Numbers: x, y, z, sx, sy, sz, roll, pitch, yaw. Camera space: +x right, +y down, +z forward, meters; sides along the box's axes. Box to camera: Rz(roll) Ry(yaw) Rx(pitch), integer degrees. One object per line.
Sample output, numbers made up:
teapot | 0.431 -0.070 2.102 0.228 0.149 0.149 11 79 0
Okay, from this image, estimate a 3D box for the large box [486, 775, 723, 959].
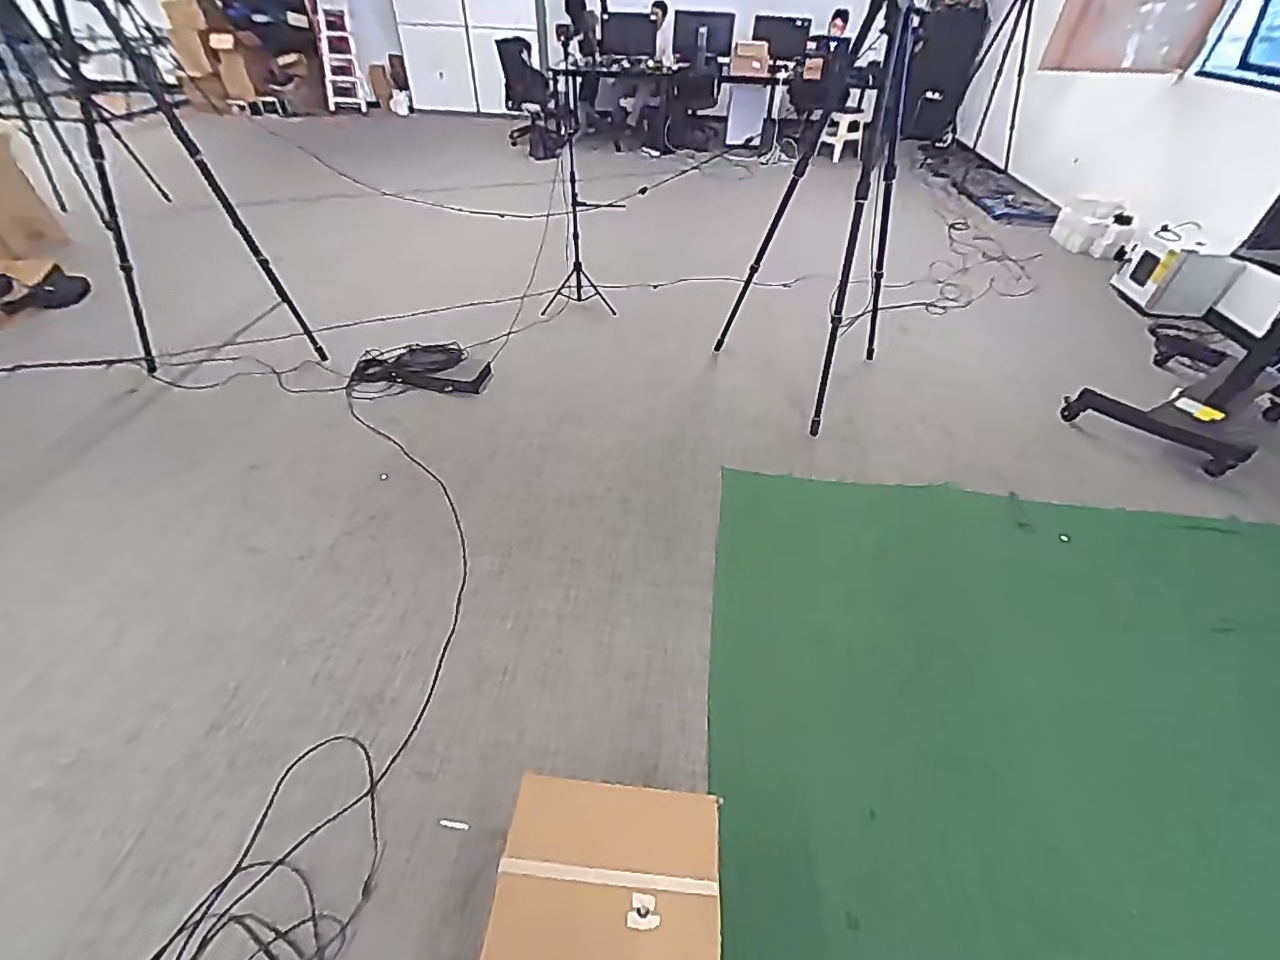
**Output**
large box | -0.057 0.835 1.094 0.408 0.320 0.320 5 43 2
